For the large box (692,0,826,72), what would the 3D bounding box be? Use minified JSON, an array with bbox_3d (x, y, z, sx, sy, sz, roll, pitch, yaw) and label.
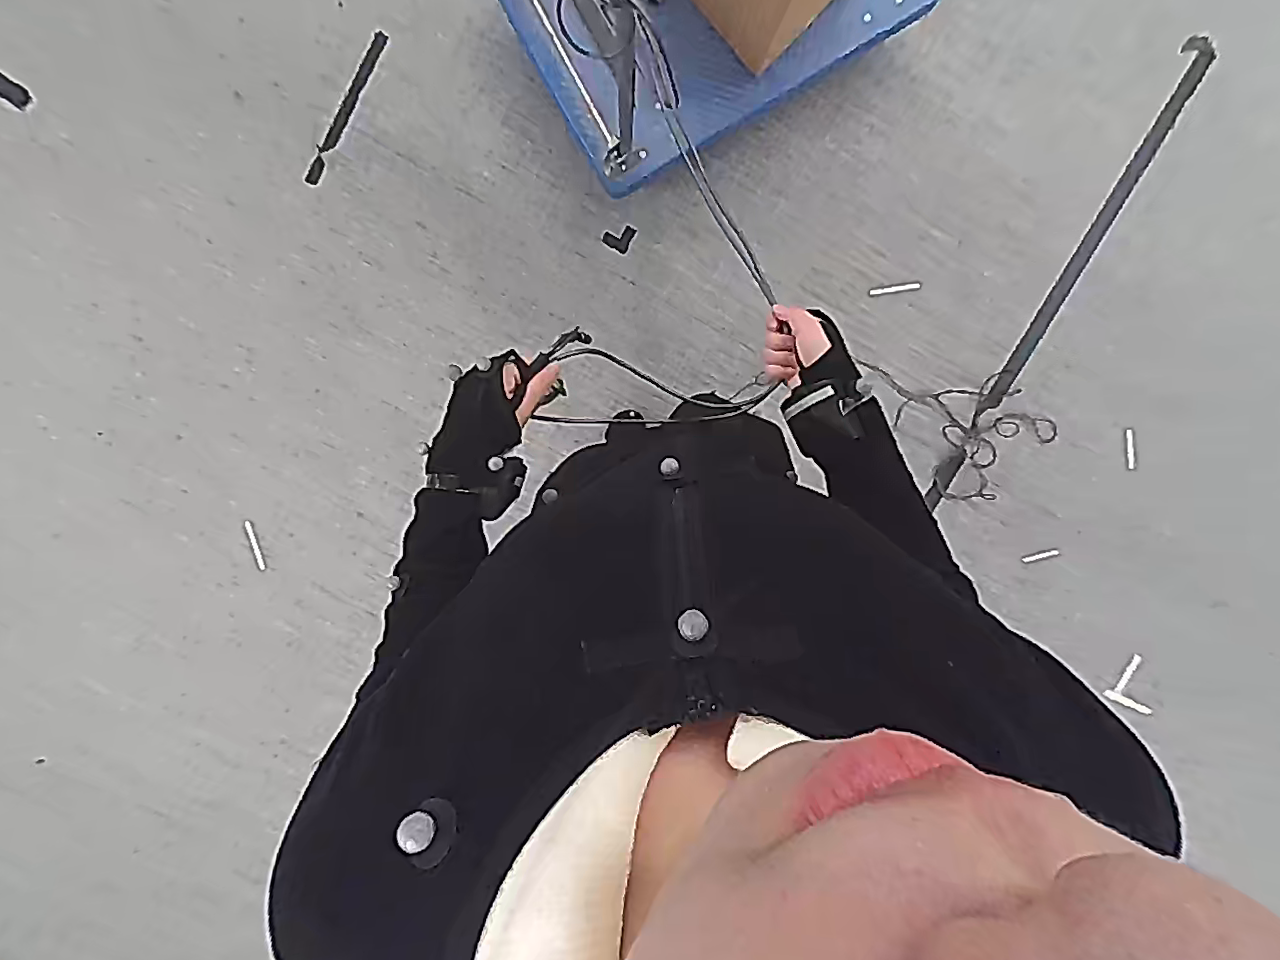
[{"bbox_3d":[0.230,-1.115,1.012,0.408,0.320,0.320,44,95,-9],"label":"large box"}]
